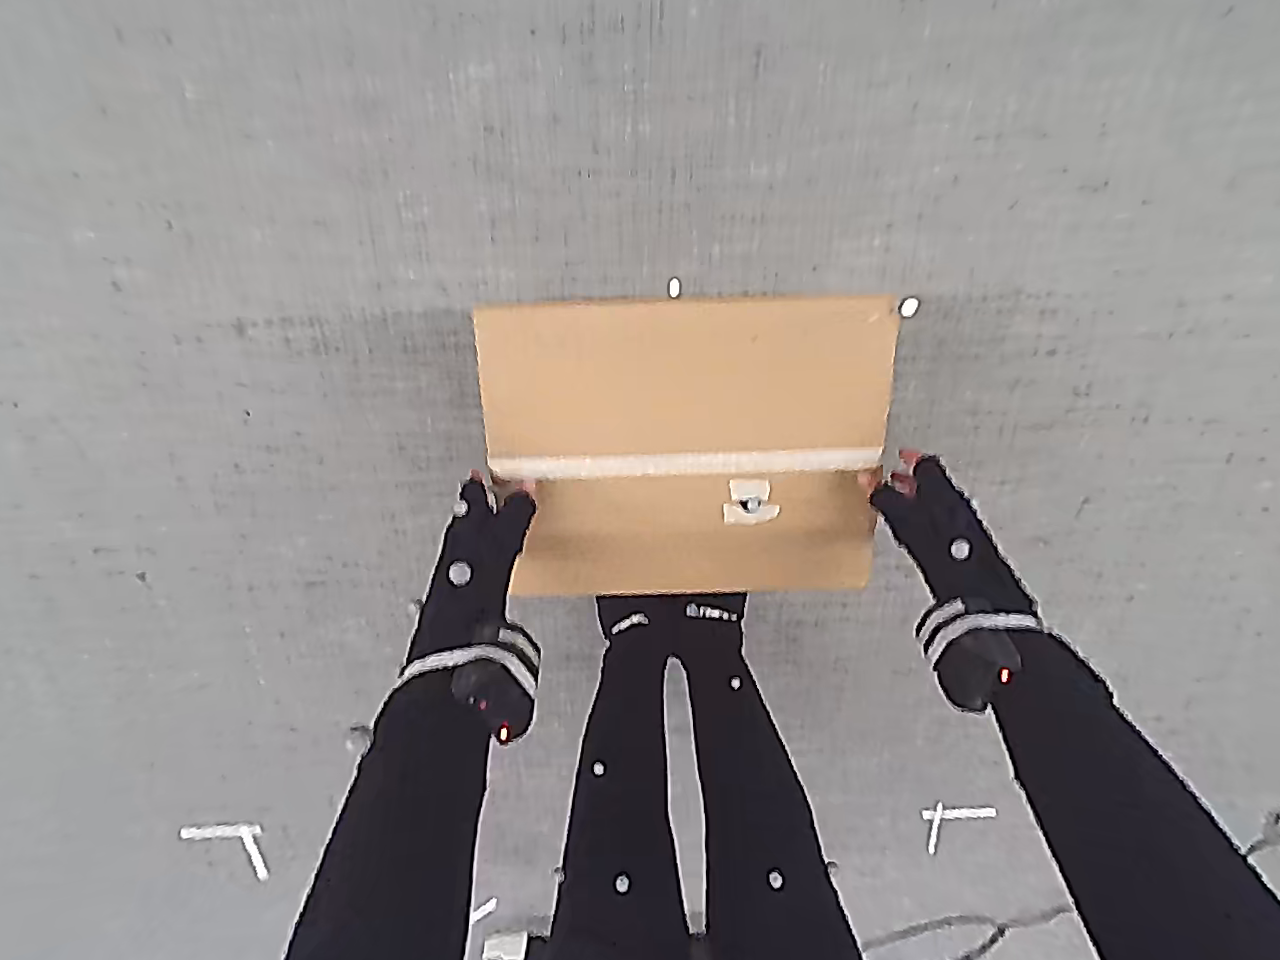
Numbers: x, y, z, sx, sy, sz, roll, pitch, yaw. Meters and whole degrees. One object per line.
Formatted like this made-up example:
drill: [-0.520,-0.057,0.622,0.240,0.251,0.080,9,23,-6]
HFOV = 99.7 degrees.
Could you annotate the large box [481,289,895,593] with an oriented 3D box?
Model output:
large box: [0.049,-0.073,0.701,0.408,0.320,0.320,-2,110,0]
